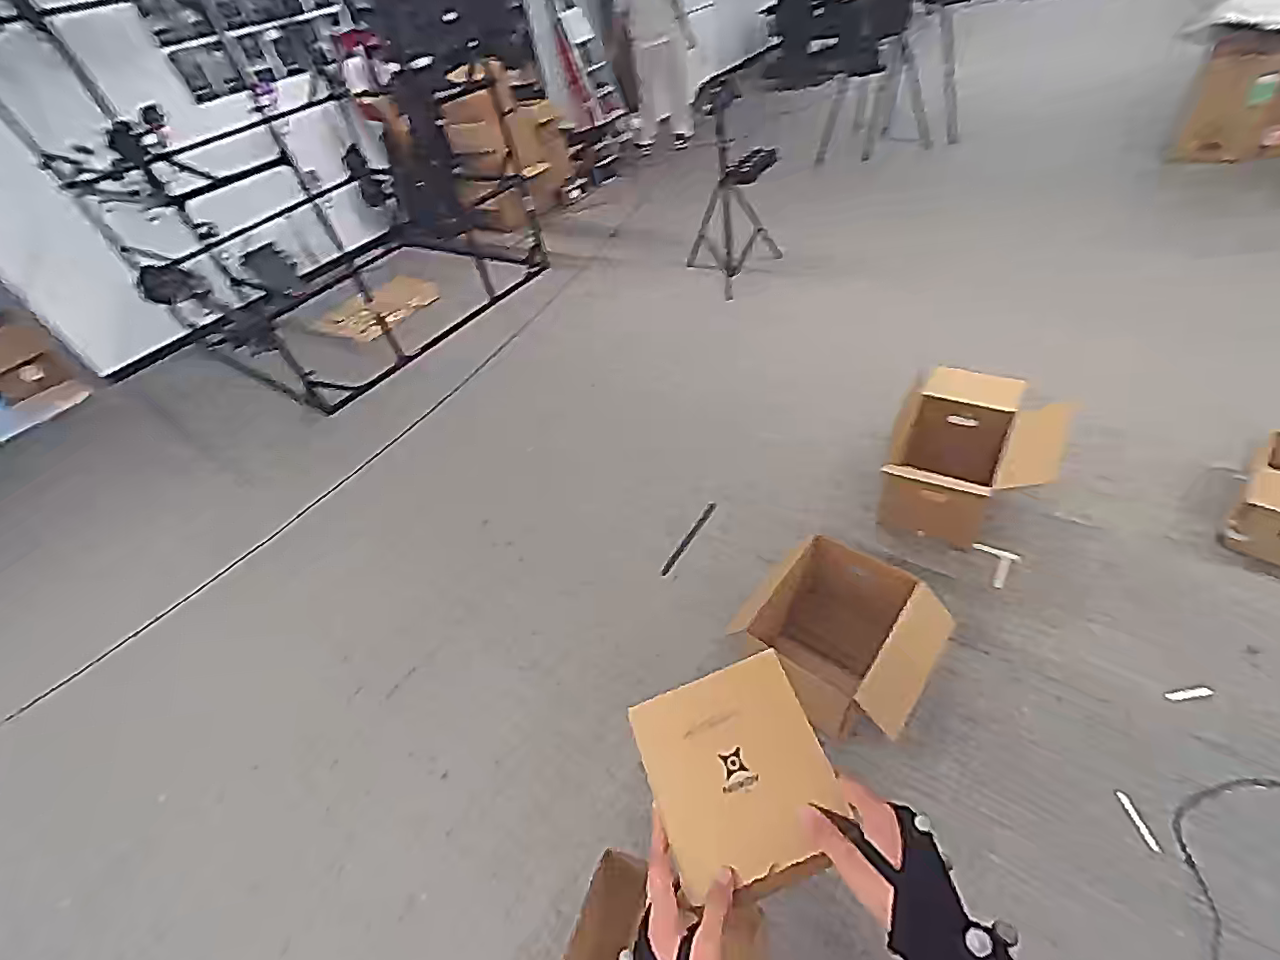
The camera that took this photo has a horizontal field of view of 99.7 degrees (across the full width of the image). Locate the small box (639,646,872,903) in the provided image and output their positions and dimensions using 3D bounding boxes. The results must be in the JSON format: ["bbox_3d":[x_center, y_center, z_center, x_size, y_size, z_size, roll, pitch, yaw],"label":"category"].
[{"bbox_3d":[0.114,0.303,0.572,0.168,0.176,0.179,-21,57,-1],"label":"small box"}]
